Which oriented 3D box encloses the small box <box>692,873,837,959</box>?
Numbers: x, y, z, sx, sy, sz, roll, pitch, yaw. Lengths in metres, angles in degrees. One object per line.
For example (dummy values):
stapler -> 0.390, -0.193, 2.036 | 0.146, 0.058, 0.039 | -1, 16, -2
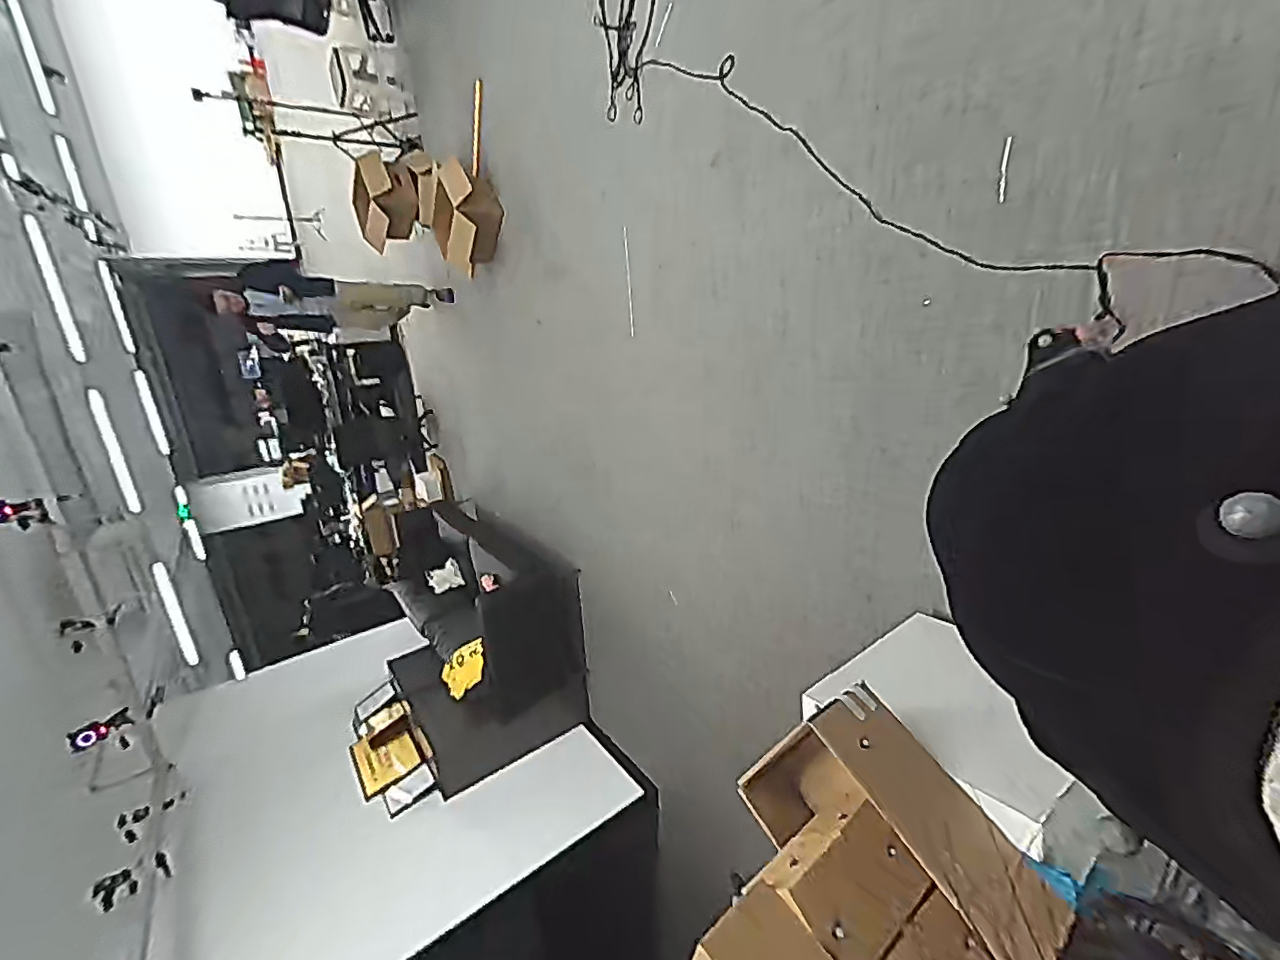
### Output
small box -> 0.209, 0.834, 0.923 | 0.179, 0.176, 0.168 | 36, 131, 39
